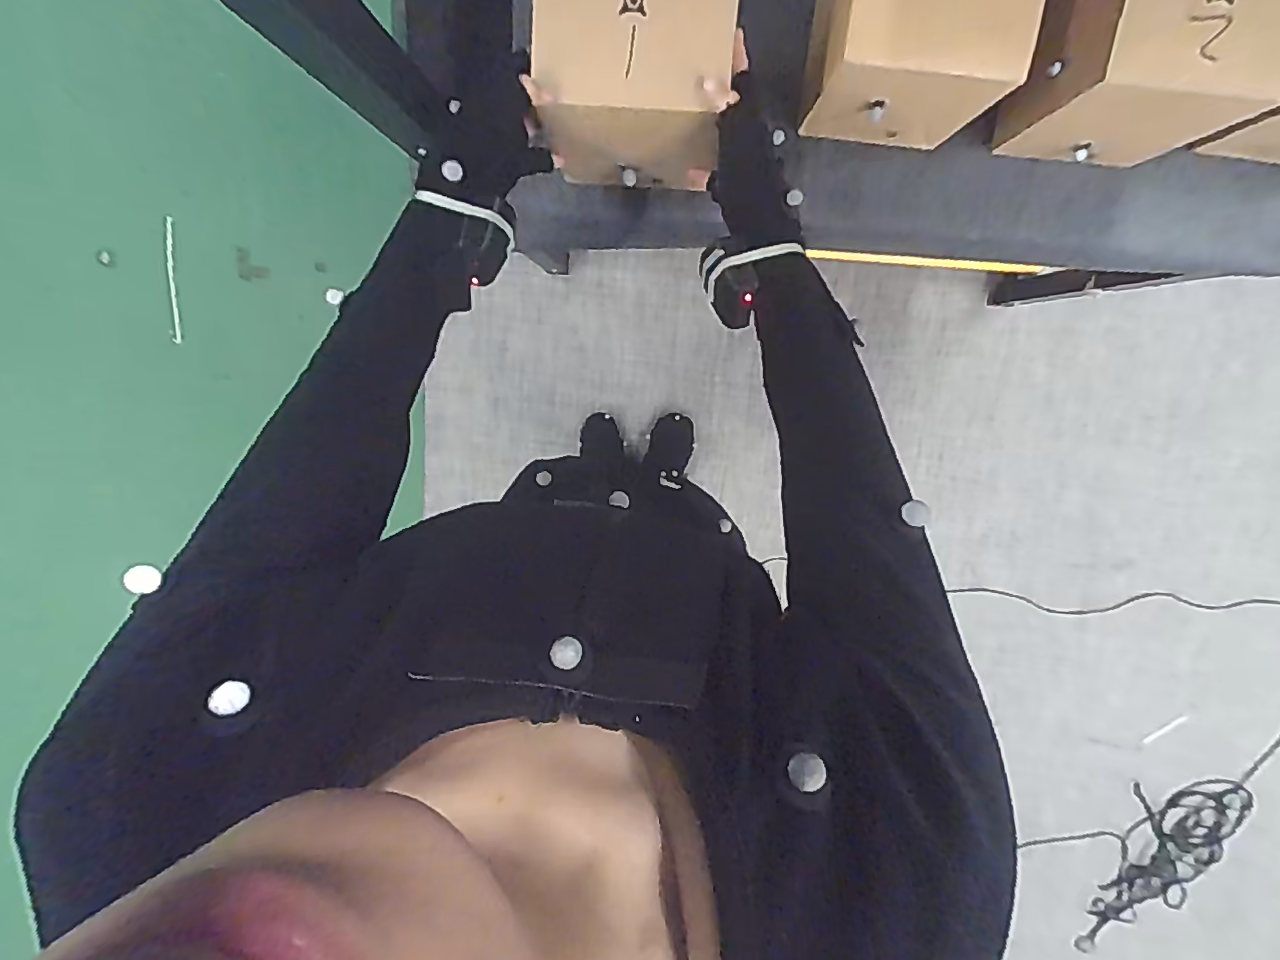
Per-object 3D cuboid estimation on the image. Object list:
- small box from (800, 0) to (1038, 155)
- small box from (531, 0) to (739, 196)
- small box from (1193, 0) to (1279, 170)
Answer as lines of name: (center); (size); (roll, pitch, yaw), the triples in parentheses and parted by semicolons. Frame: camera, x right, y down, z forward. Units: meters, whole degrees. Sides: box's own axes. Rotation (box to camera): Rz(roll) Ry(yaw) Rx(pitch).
small box: (0.271, -0.456, 0.546); (0.168, 0.176, 0.179); (7, 102, 1)
small box: (0.001, -0.399, 0.514); (0.168, 0.176, 0.179); (5, 99, 2)
small box: (0.722, -0.427, 0.535); (0.168, 0.176, 0.179); (8, 102, 0)
